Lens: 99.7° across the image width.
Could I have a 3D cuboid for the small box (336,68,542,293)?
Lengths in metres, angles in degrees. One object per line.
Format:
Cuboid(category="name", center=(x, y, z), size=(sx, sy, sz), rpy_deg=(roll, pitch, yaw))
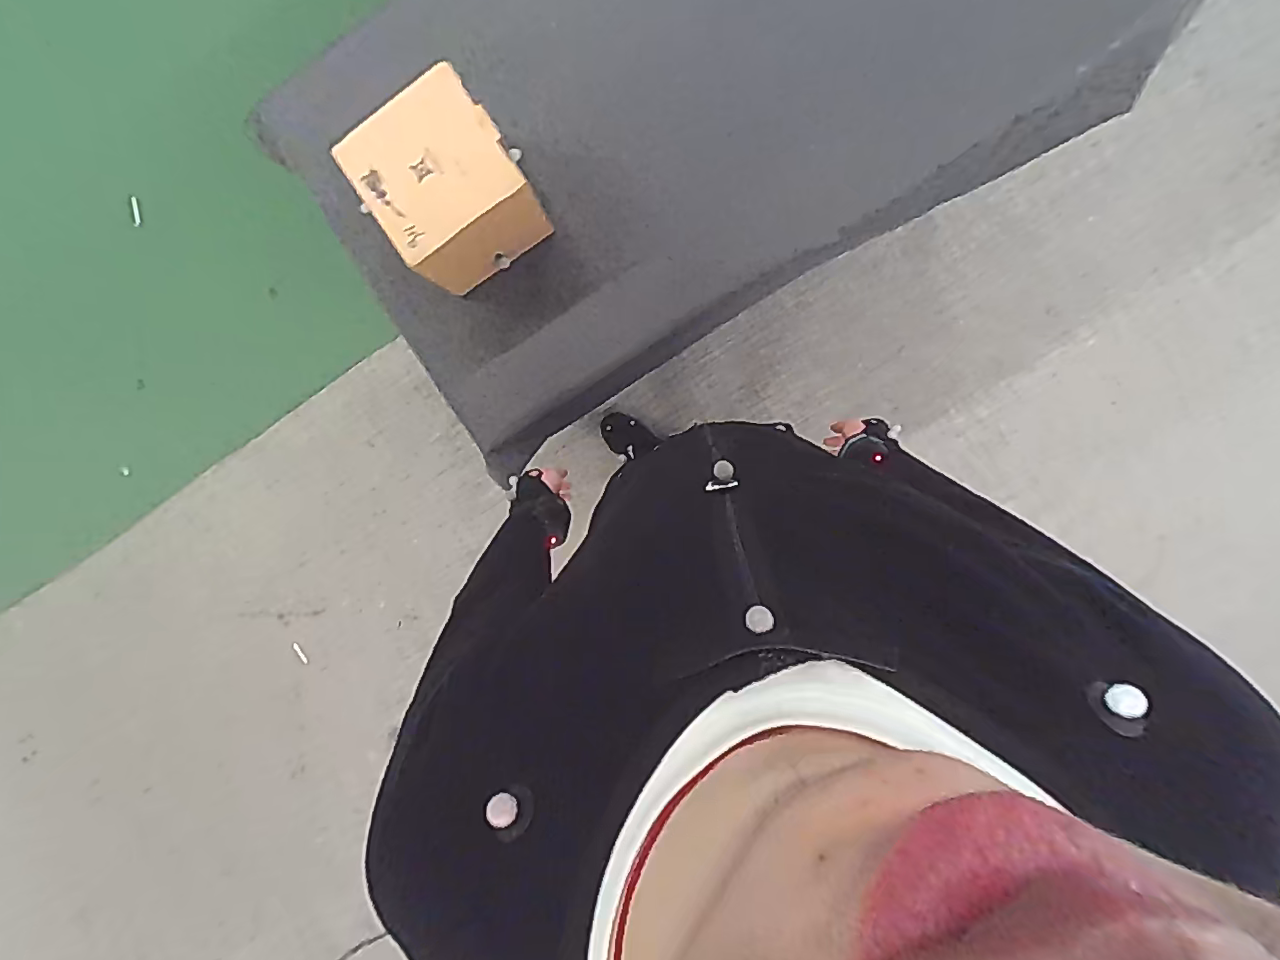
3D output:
Cuboid(category="small box", center=(-0.248, -0.380, 0.723), size=(0.179, 0.176, 0.168), rpy_deg=(-33, 95, 5))
